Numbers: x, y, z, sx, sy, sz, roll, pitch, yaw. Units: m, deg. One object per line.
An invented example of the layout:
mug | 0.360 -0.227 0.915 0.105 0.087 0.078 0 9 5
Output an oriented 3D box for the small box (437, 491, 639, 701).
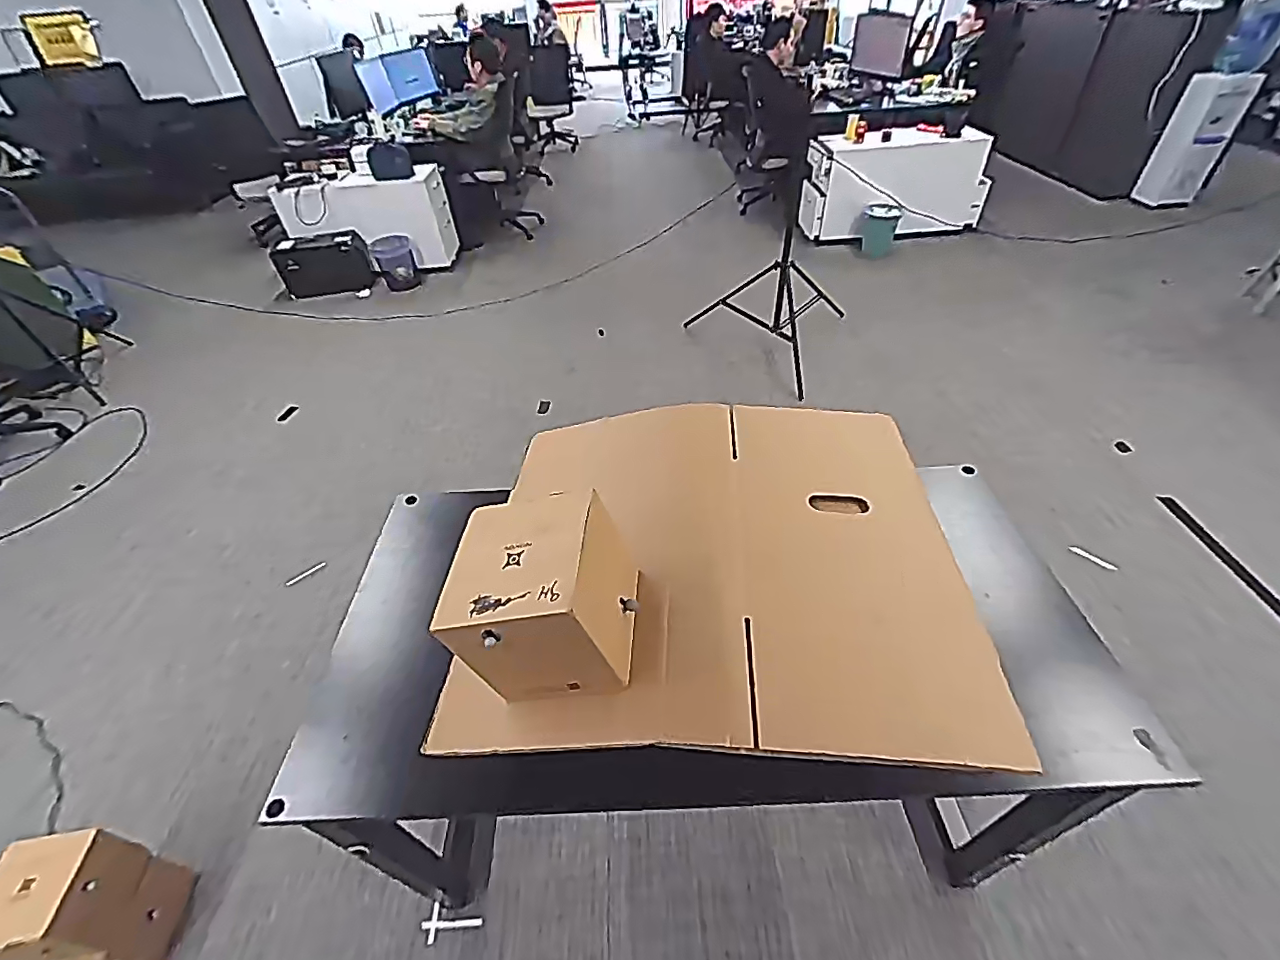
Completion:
small box | -0.106 0.142 0.657 0.168 0.176 0.179 -12 40 16

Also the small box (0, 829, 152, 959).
small box | -1.135 0.827 1.070 0.168 0.176 0.179 -7 42 -4

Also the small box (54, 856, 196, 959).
small box | -1.124 0.949 1.176 0.168 0.176 0.179 -6 43 -1
